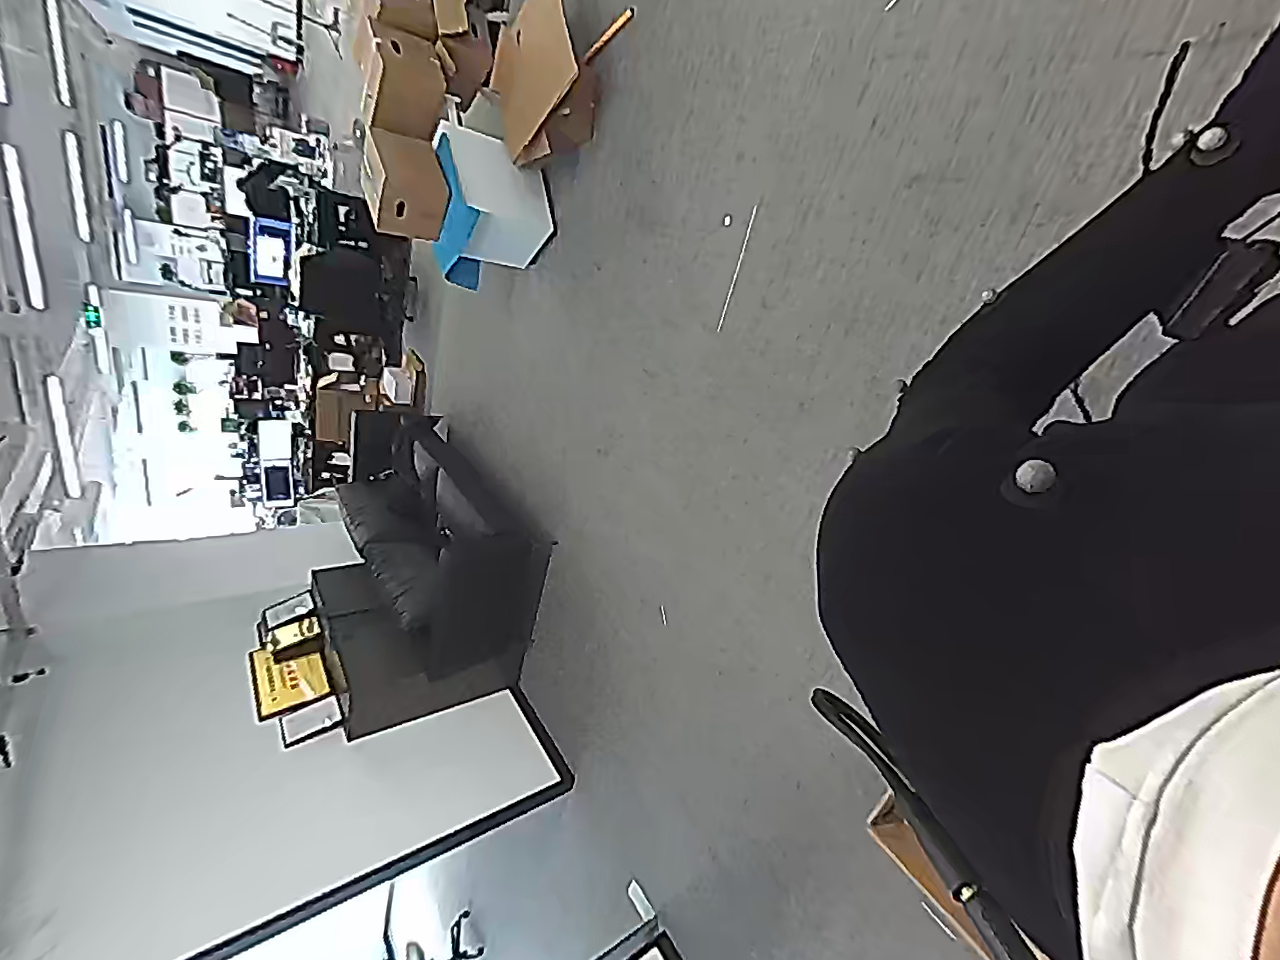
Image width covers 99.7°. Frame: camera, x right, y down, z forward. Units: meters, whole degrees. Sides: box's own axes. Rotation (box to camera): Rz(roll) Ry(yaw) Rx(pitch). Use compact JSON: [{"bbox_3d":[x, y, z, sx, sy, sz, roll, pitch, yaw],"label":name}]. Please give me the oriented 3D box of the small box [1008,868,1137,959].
[{"bbox_3d":[1.029,1.077,1.285,0.168,0.176,0.179,42,125,43],"label":"small box"}]
